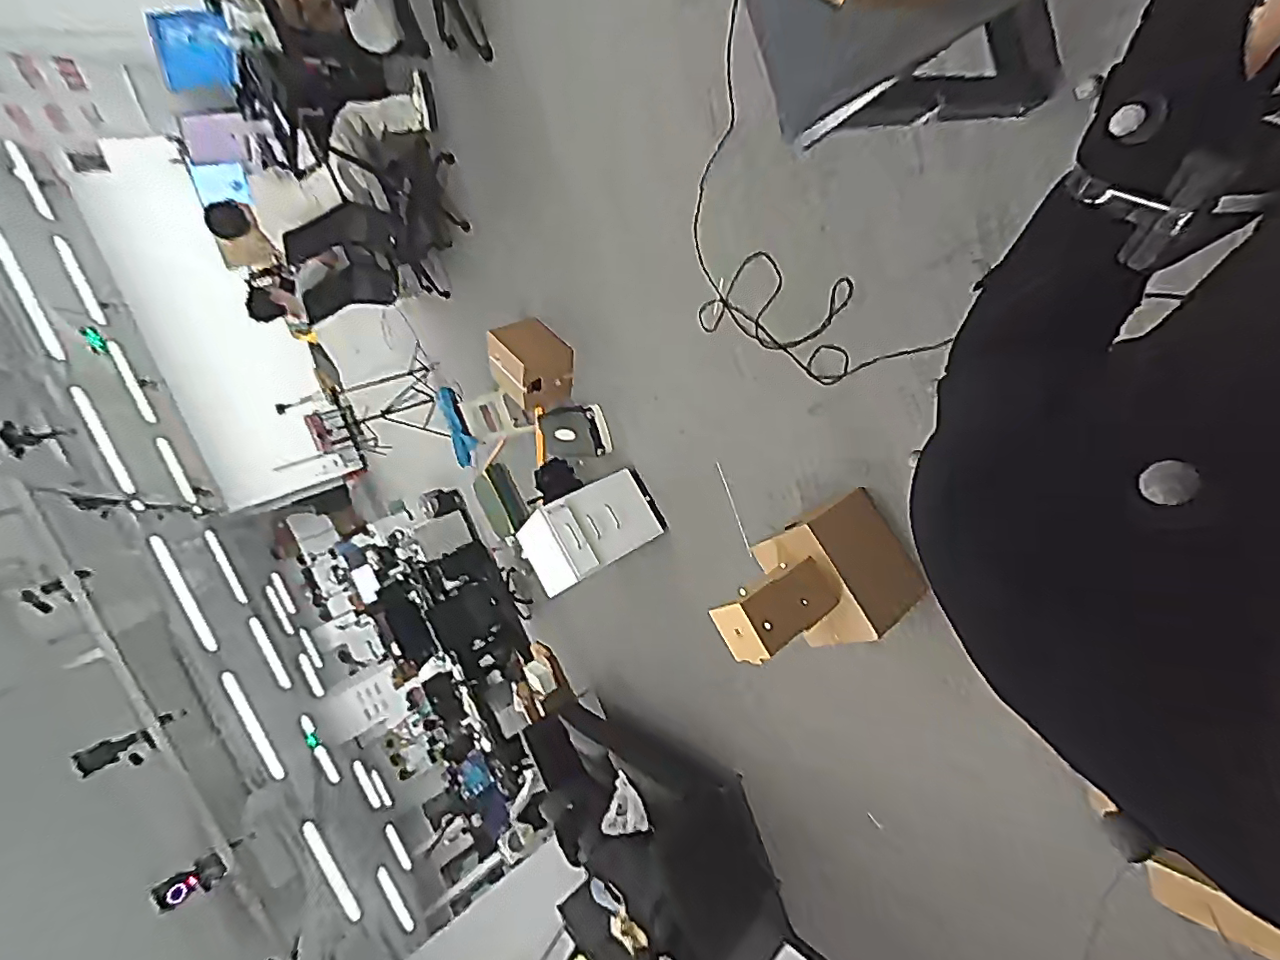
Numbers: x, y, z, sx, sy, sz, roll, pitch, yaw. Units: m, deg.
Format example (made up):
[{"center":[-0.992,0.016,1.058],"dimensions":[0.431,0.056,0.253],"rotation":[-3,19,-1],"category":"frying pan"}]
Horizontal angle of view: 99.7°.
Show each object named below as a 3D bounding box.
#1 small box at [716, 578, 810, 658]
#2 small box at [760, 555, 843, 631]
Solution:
[{"center":[0.370,0.410,1.624],"dimensions":[0.179,0.176,0.168],"rotation":[60,148,6],"category":"small box"},{"center":[0.502,0.362,1.708],"dimensions":[0.179,0.176,0.168],"rotation":[61,148,7],"category":"small box"}]
